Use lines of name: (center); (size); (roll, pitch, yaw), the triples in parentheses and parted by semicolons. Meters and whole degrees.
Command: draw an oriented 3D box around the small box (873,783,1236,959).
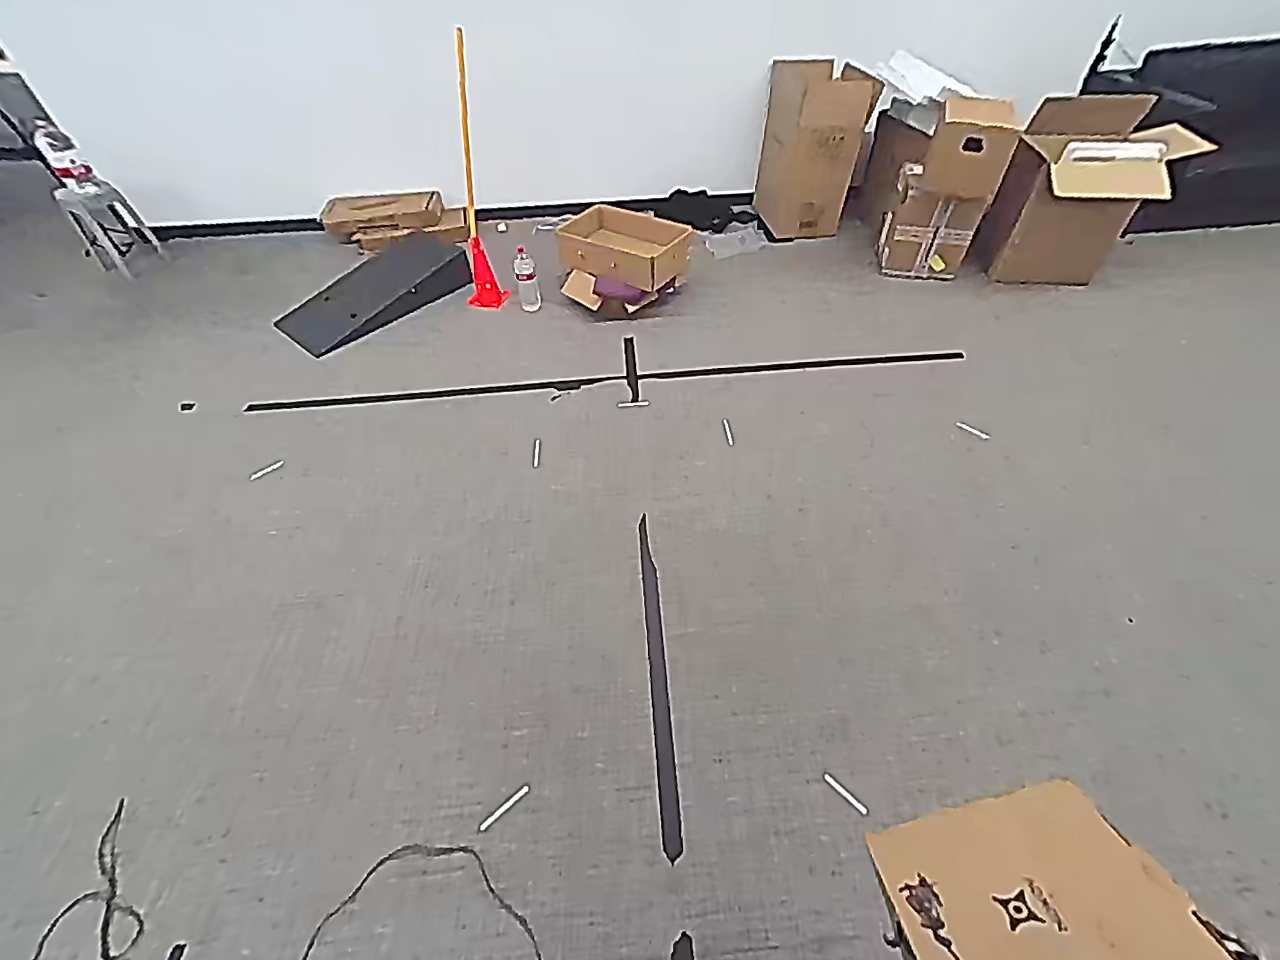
small box: (0.308, 0.377, 0.406); (0.179, 0.176, 0.168); (-19, 15, 6)
